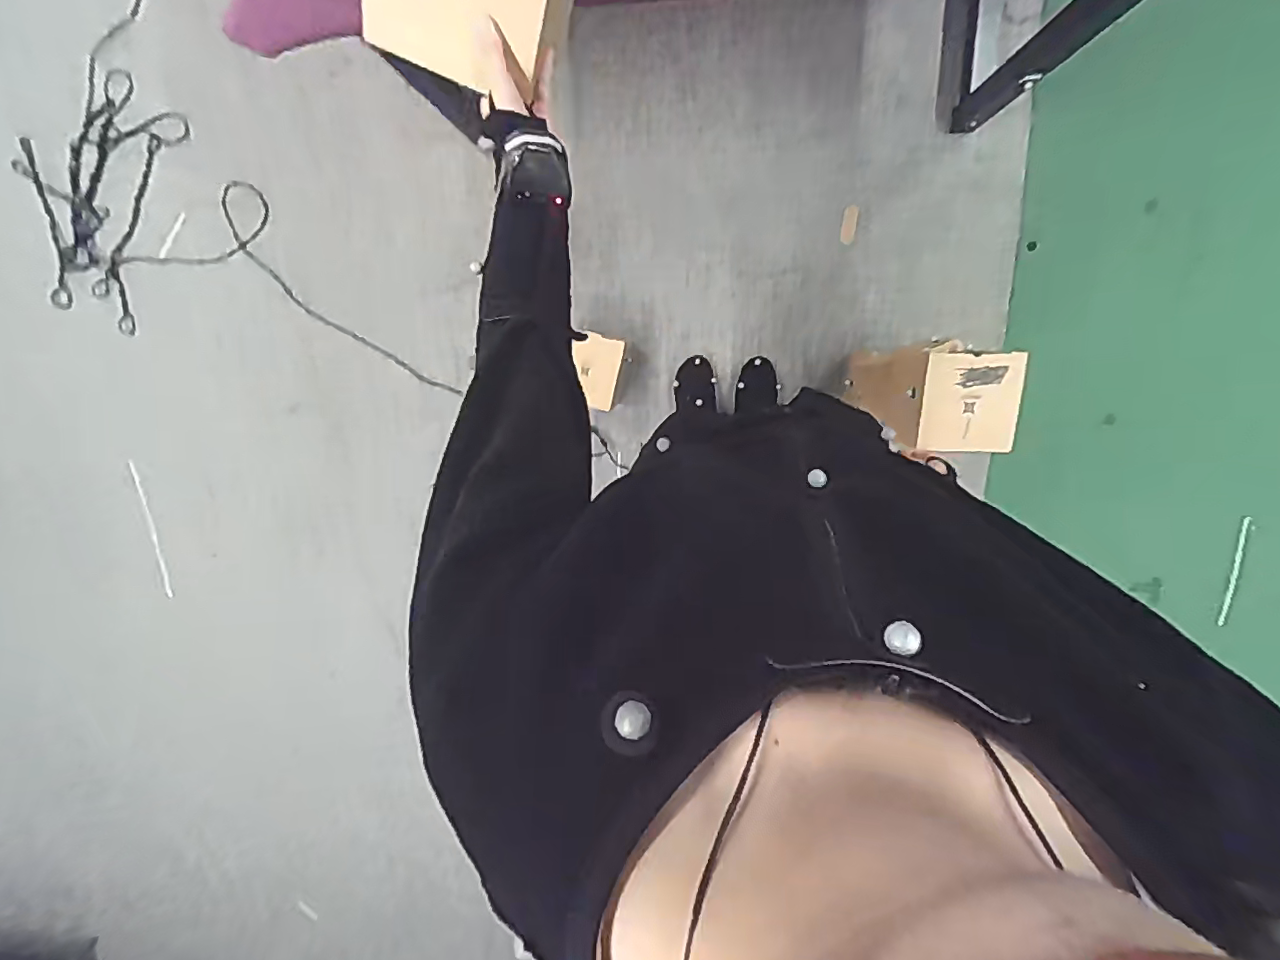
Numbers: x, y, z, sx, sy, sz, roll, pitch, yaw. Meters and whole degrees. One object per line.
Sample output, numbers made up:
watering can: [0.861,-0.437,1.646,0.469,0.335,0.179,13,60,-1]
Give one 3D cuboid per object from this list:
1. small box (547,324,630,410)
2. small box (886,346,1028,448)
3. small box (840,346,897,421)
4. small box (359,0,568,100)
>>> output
small box: [-0.125,-0.293,1.393,0.168,0.176,0.179,15,106,2]
small box: [0.582,-0.162,1.017,0.168,0.176,0.179,1,105,4]
small box: [0.613,-0.233,1.337,0.179,0.176,0.168,10,105,3]
small box: [-0.155,-0.522,0.523,0.168,0.176,0.179,17,140,-12]
